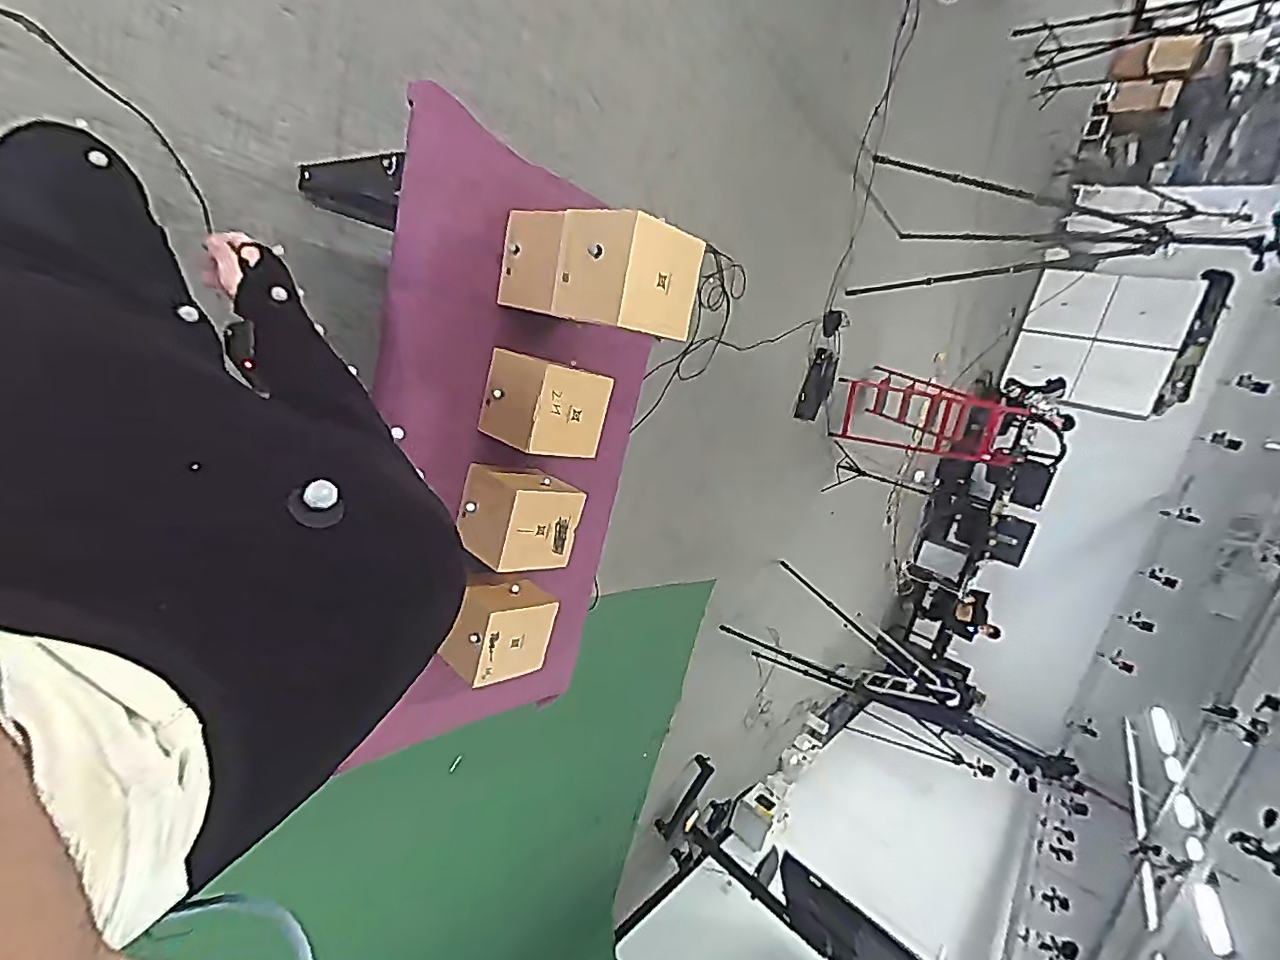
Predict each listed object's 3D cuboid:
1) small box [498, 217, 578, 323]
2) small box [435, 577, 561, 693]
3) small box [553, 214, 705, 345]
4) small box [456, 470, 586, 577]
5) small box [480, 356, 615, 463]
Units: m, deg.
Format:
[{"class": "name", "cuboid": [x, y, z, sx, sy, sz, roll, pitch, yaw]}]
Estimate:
[{"class": "small box", "cuboid": [-0.136, -0.378, 1.002, 0.179, 0.176, 0.168, -5, 111, -48]}, {"class": "small box", "cuboid": [-0.303, 0.317, 1.152, 0.179, 0.176, 0.168, 4, 105, -51]}, {"class": "small box", "cuboid": [-0.022, -0.328, 0.899, 0.179, 0.176, 0.168, -6, 111, -49]}, {"class": "small box", "cuboid": [-0.244, 0.084, 1.105, 0.179, 0.176, 0.168, 5, 104, -49]}, {"class": "small box", "cuboid": [-0.183, -0.139, 1.065, 0.179, 0.176, 0.168, 2, 106, -49]}]
